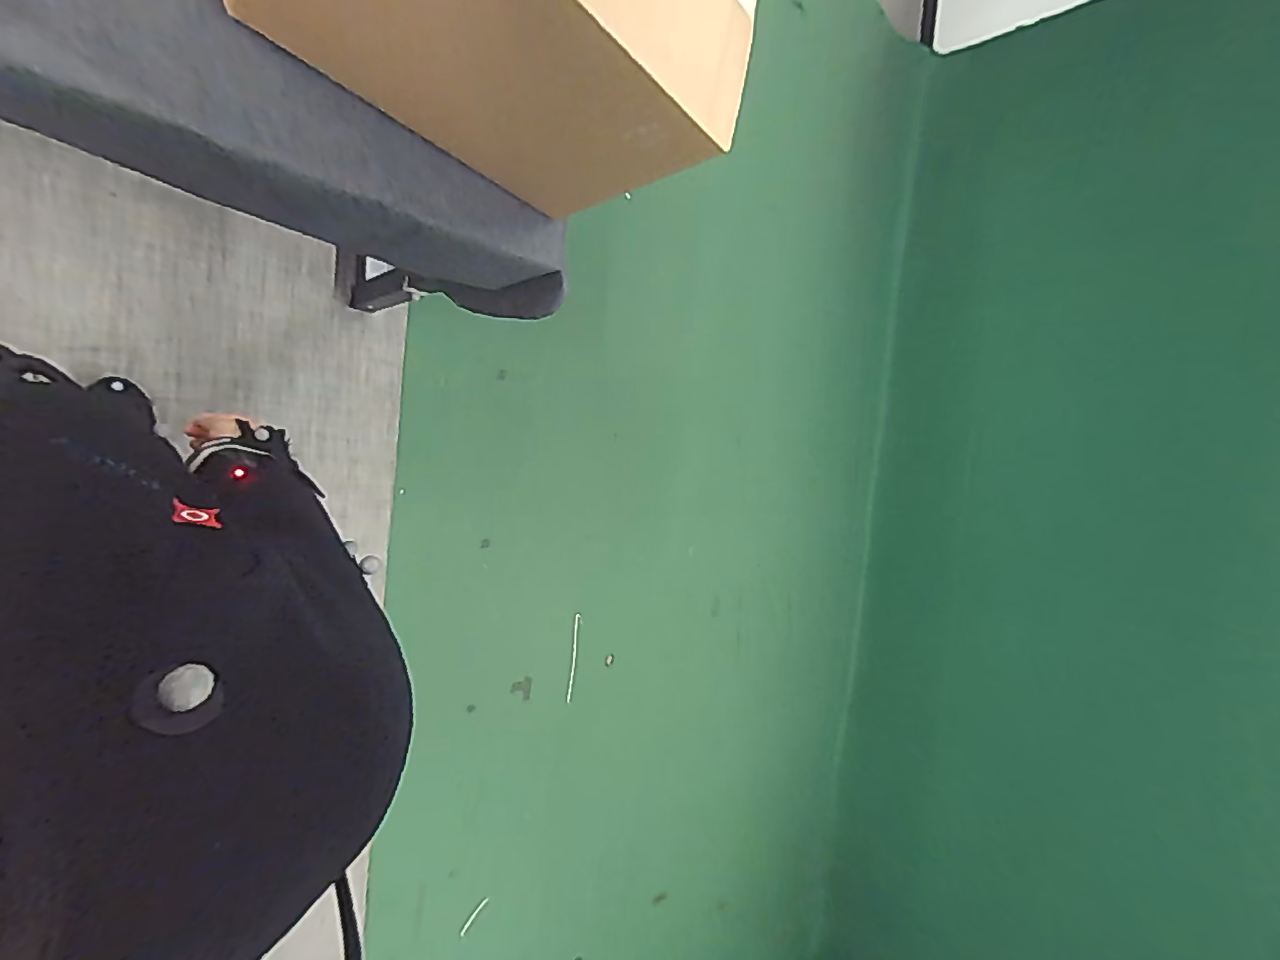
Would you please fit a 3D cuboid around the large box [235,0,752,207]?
[{"bbox_3d":[-0.123,-0.555,0.552,0.408,0.320,0.320,12,88,-47],"label":"large box"}]
